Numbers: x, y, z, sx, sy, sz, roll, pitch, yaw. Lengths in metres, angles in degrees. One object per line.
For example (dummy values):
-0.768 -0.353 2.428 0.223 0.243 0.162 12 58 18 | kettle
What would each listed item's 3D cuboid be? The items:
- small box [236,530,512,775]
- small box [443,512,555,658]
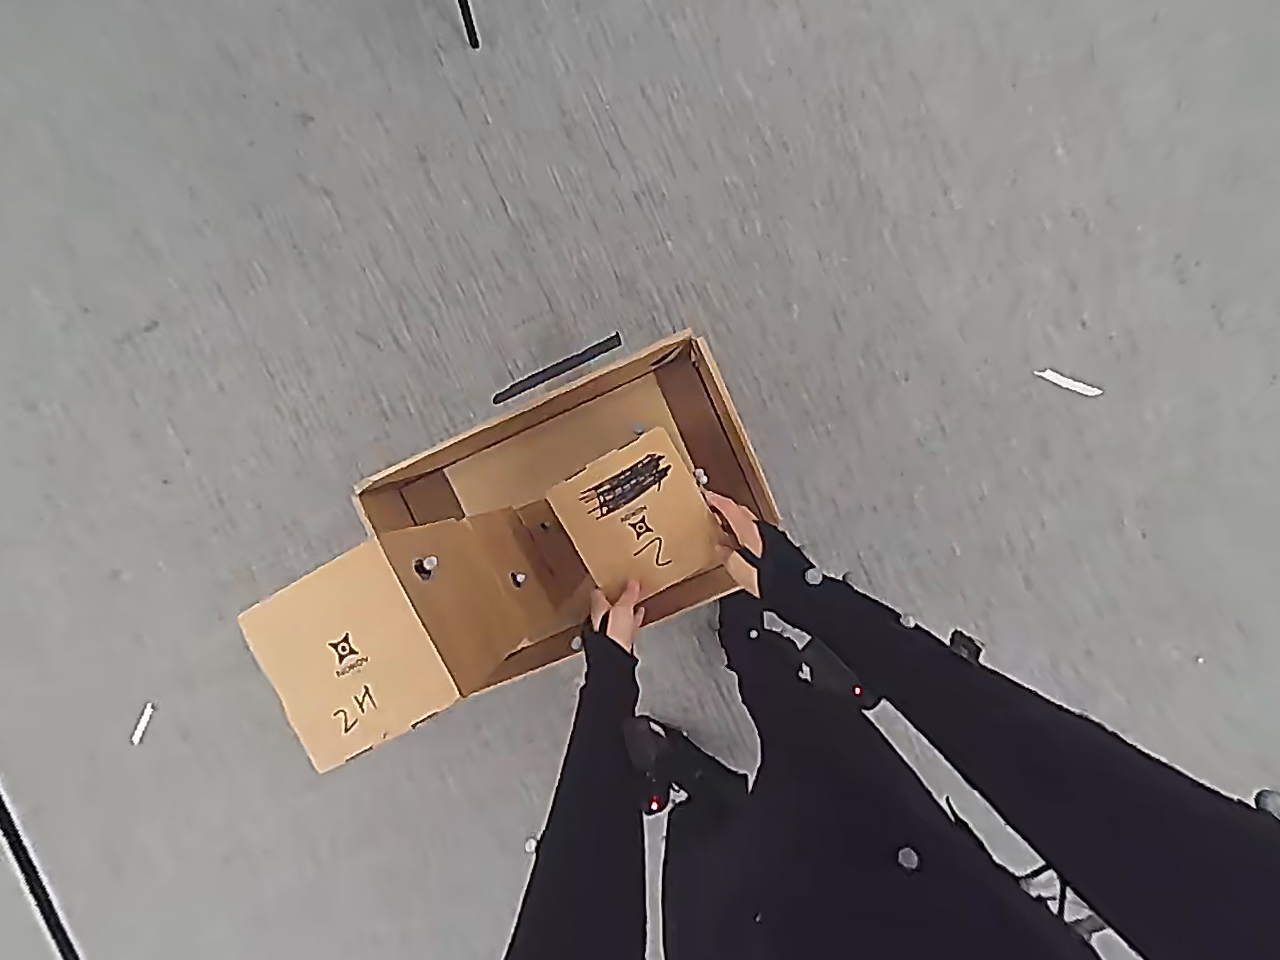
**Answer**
-0.267 0.164 0.584 0.168 0.176 0.179 -29 89 6 | small box
-0.238 0.159 0.747 0.168 0.176 0.179 -27 89 5 | small box
